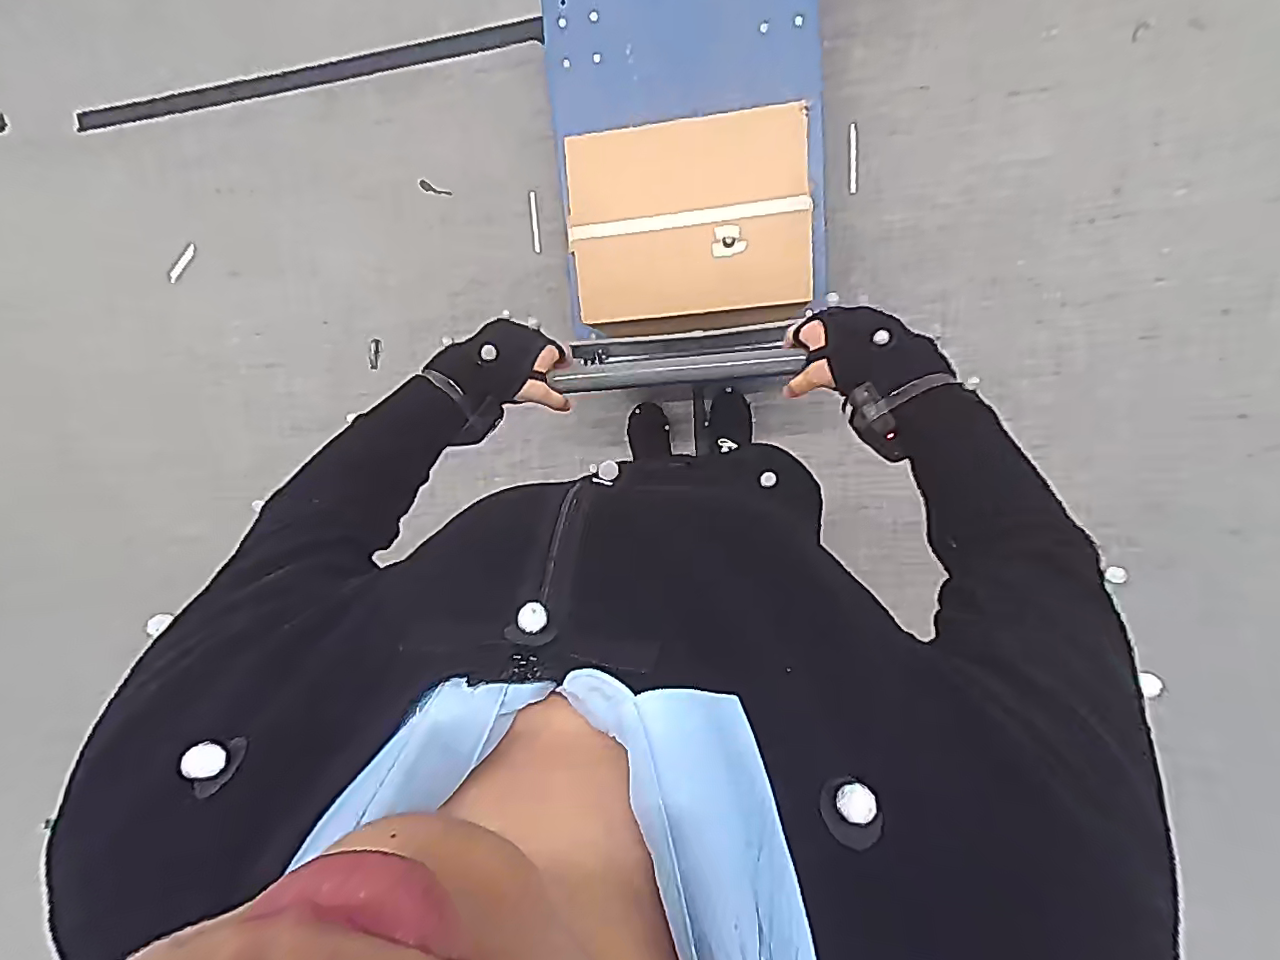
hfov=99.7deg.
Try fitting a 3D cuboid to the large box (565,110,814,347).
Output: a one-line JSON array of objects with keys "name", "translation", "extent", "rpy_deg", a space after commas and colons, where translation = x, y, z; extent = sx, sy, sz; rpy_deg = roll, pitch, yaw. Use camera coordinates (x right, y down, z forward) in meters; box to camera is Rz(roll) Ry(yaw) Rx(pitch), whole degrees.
[{"name": "large box", "translation": [0.098, -0.448, 1.054], "extent": [0.408, 0.320, 0.320], "rpy_deg": [-4, 100, 7]}]
